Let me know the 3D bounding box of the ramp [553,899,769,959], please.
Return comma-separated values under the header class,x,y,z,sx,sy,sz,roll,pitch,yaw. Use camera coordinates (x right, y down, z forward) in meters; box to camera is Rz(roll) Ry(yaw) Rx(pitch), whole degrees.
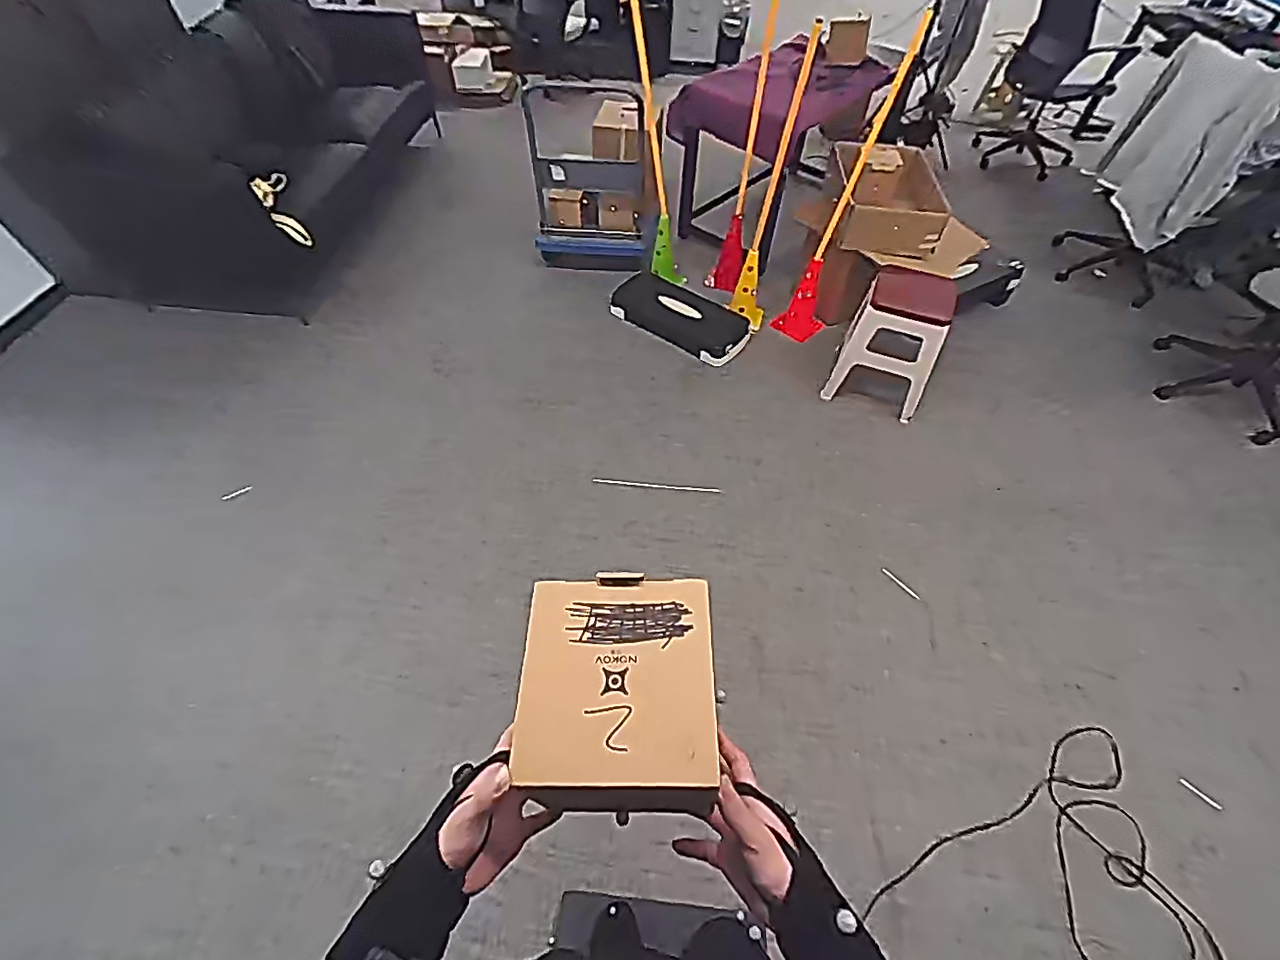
class,x,y,z,sx,sy,sz,roll,pitch,yaw
ramp,0.010,1.362,0.928,0.509,0.206,0.991,2,53,3
